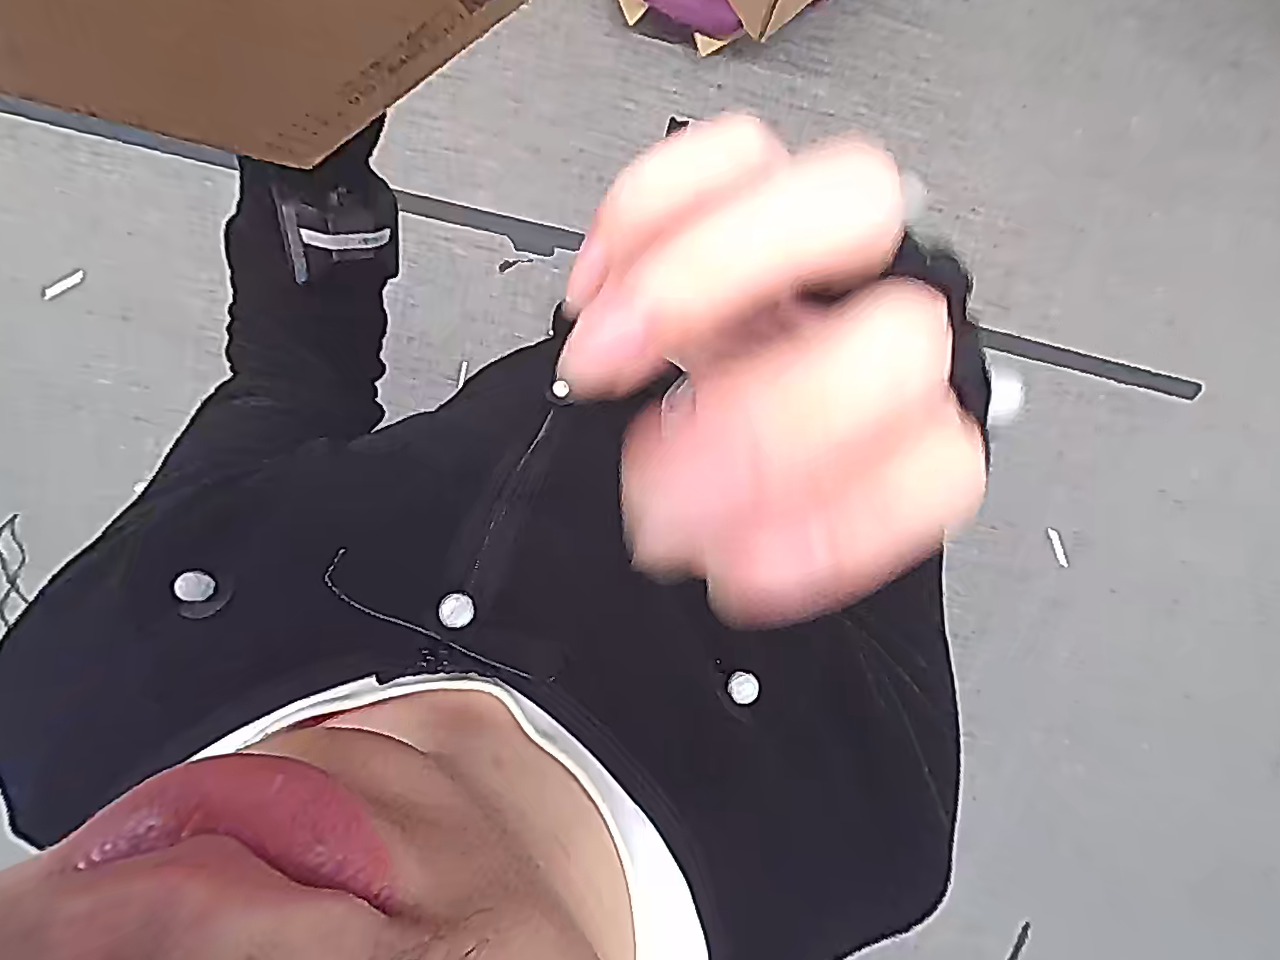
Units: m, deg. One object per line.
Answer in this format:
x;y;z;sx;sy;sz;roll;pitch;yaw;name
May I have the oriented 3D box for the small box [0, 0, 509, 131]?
-0.121;-0.215;0.124;0.168;0.176;0.179;-27;108;11;small box
